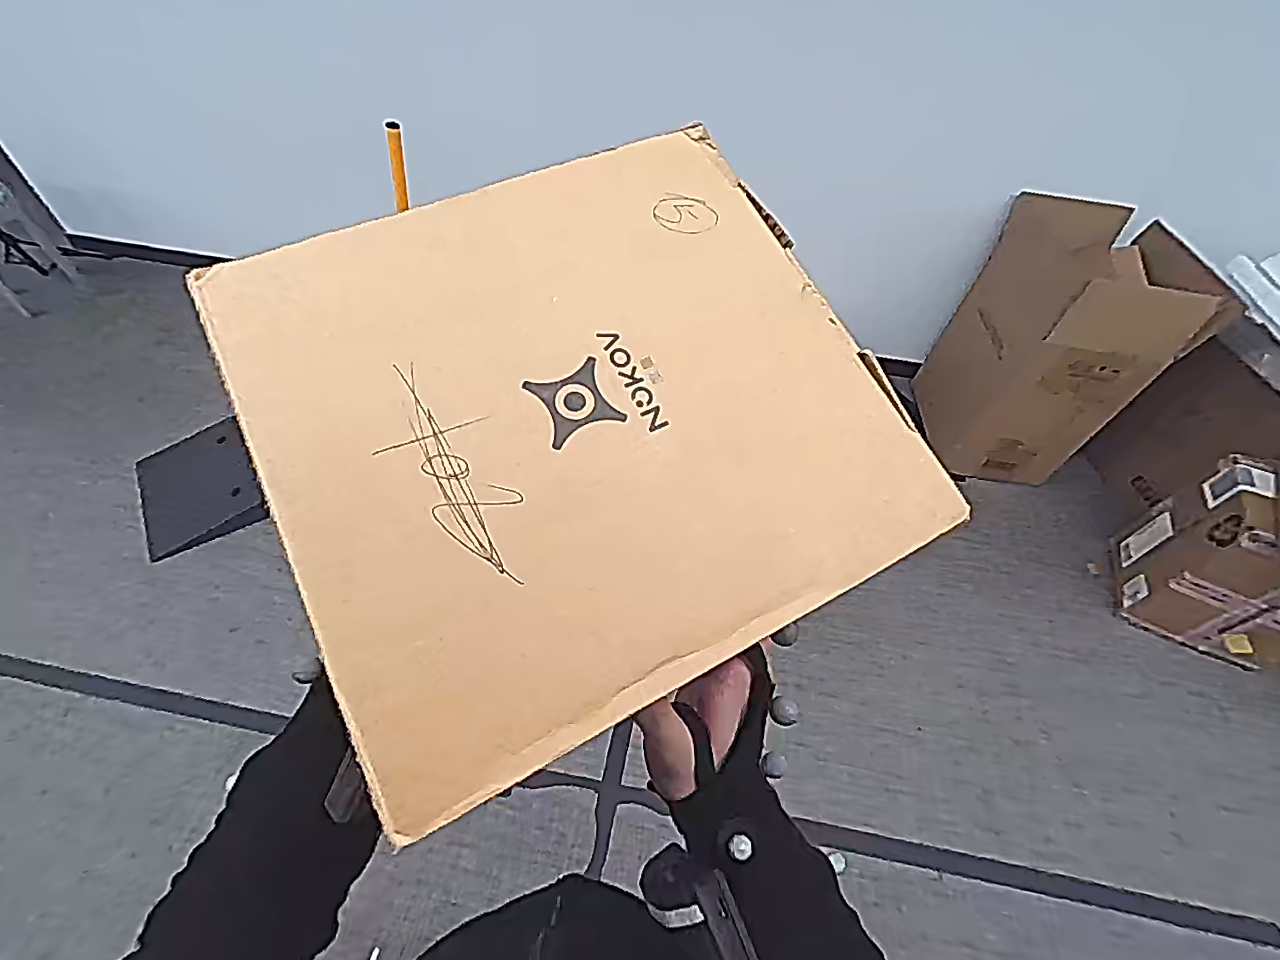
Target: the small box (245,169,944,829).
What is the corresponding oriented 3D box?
[{"bbox_3d":[-0.021,0.008,0.247,0.179,0.176,0.168,-26,75,-13],"label":"small box"}]
